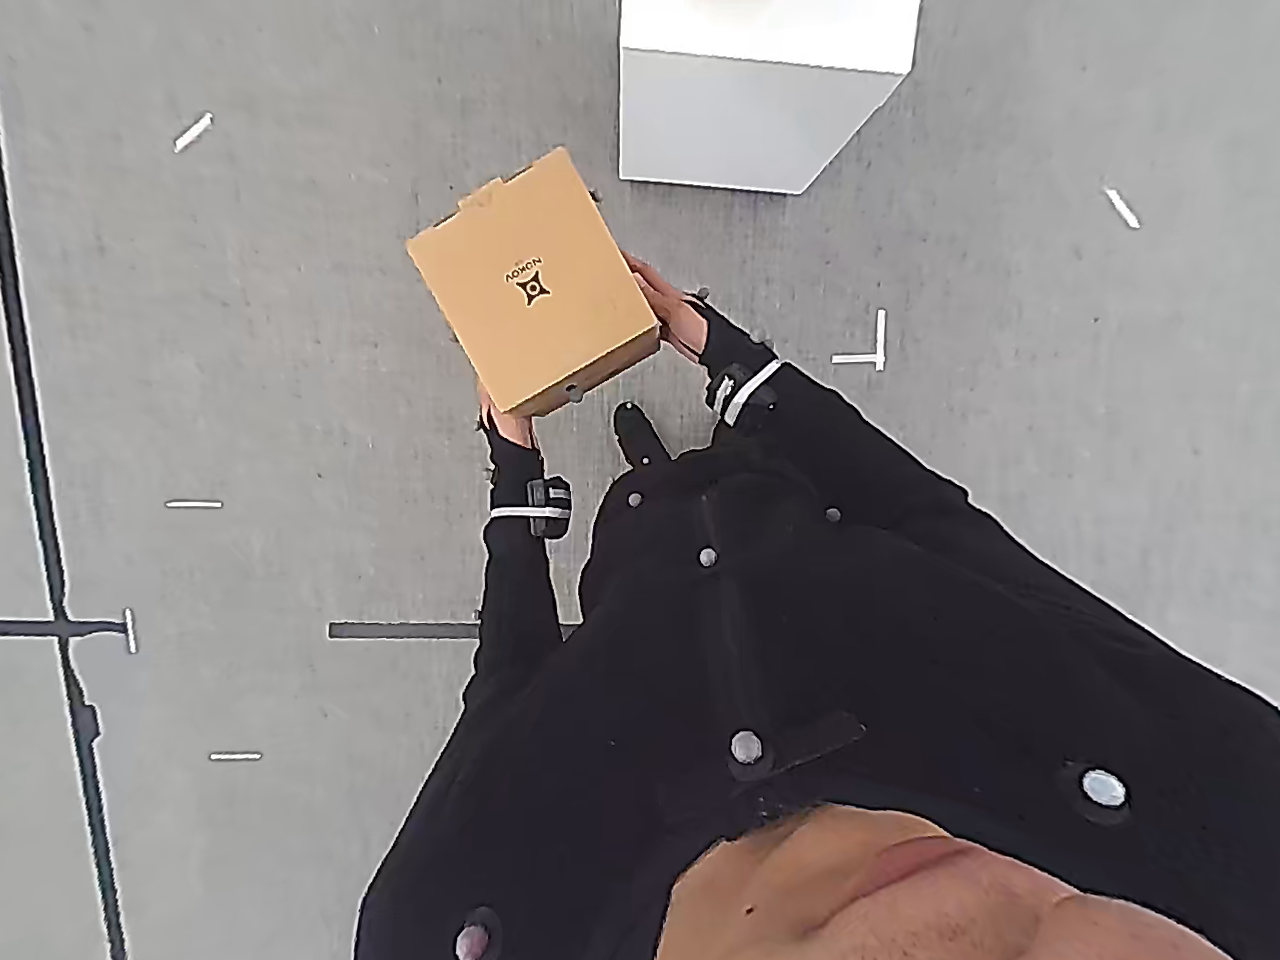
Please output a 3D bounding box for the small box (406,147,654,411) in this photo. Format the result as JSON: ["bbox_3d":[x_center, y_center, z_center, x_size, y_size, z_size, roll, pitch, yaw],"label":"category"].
[{"bbox_3d":[-0.093,-0.184,0.558,0.168,0.176,0.179,-29,92,5],"label":"small box"}]
